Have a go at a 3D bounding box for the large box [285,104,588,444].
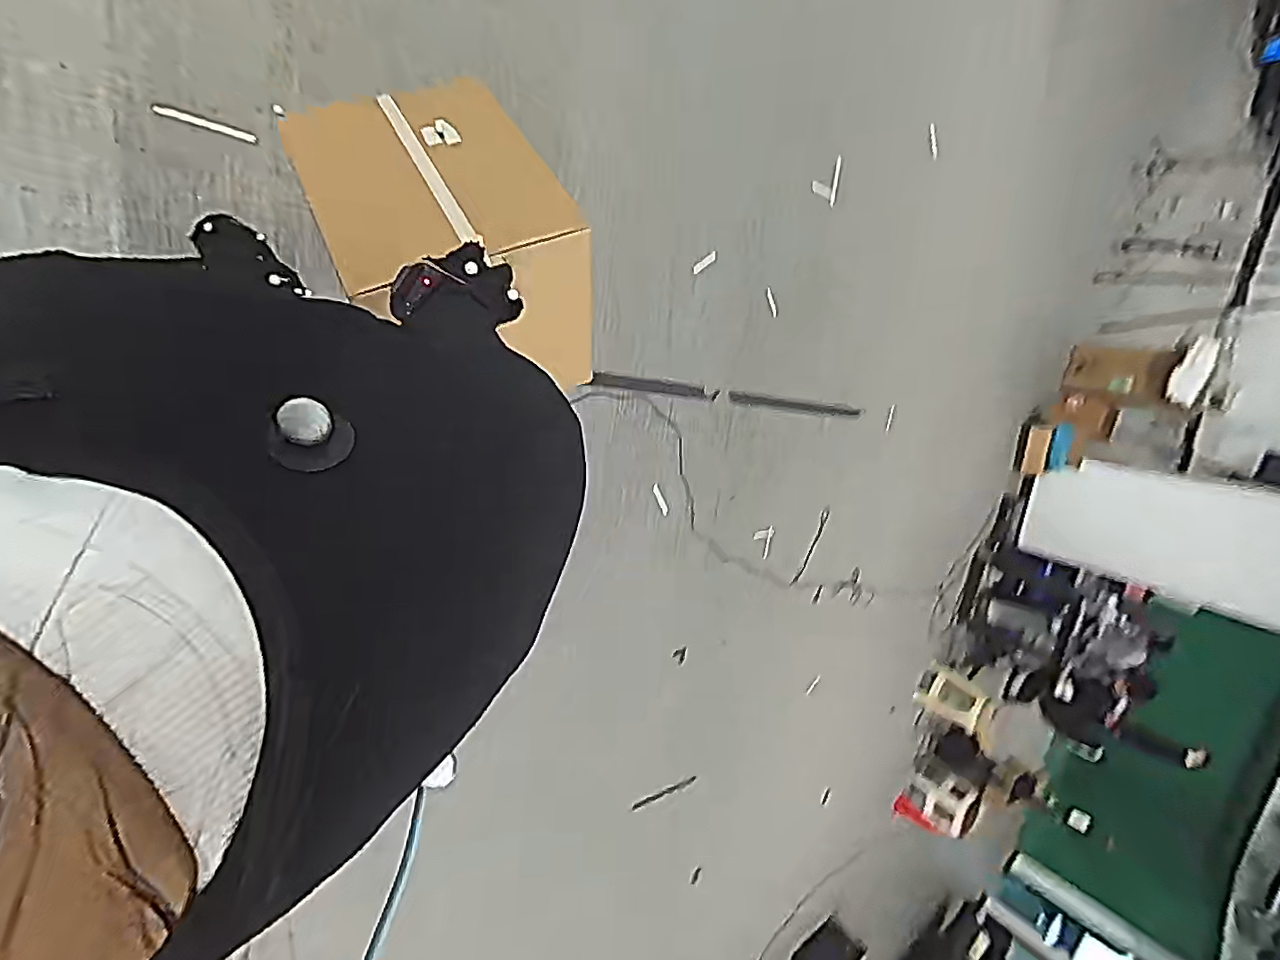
[{"bbox_3d":[-0.310,-0.338,0.897,0.320,0.408,0.320,-24,154,-19],"label":"large box"}]
